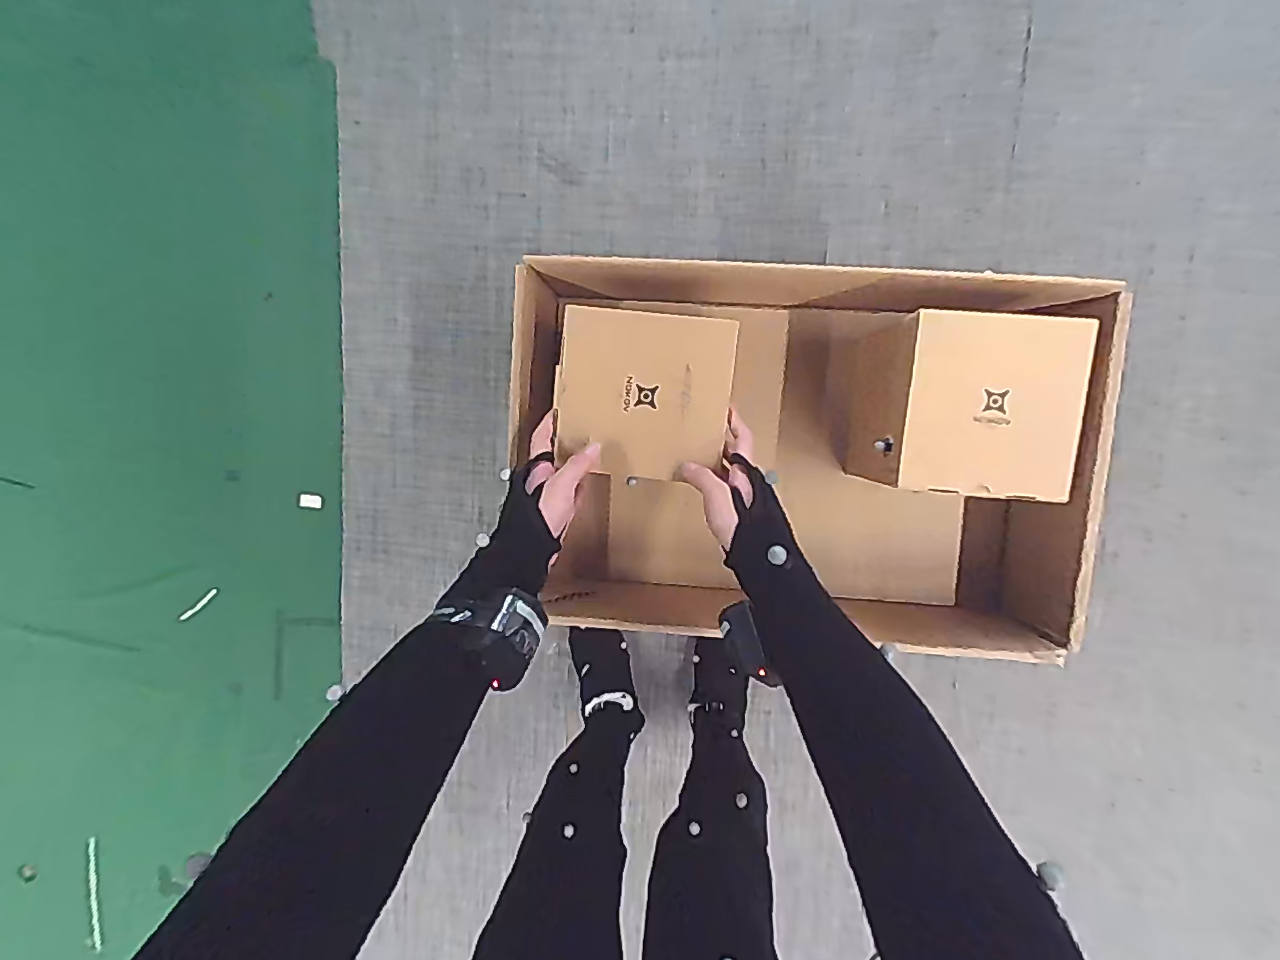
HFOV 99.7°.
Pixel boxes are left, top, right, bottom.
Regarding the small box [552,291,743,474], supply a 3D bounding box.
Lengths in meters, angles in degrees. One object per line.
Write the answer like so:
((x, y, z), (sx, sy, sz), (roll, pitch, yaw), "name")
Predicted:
((0.011, -0.106, 0.617), (0.179, 0.176, 0.168), (7, 98, 4), "small box")

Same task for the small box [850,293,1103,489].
((0.345, -0.094, 0.593), (0.168, 0.176, 0.179), (5, 99, 3), "small box")
